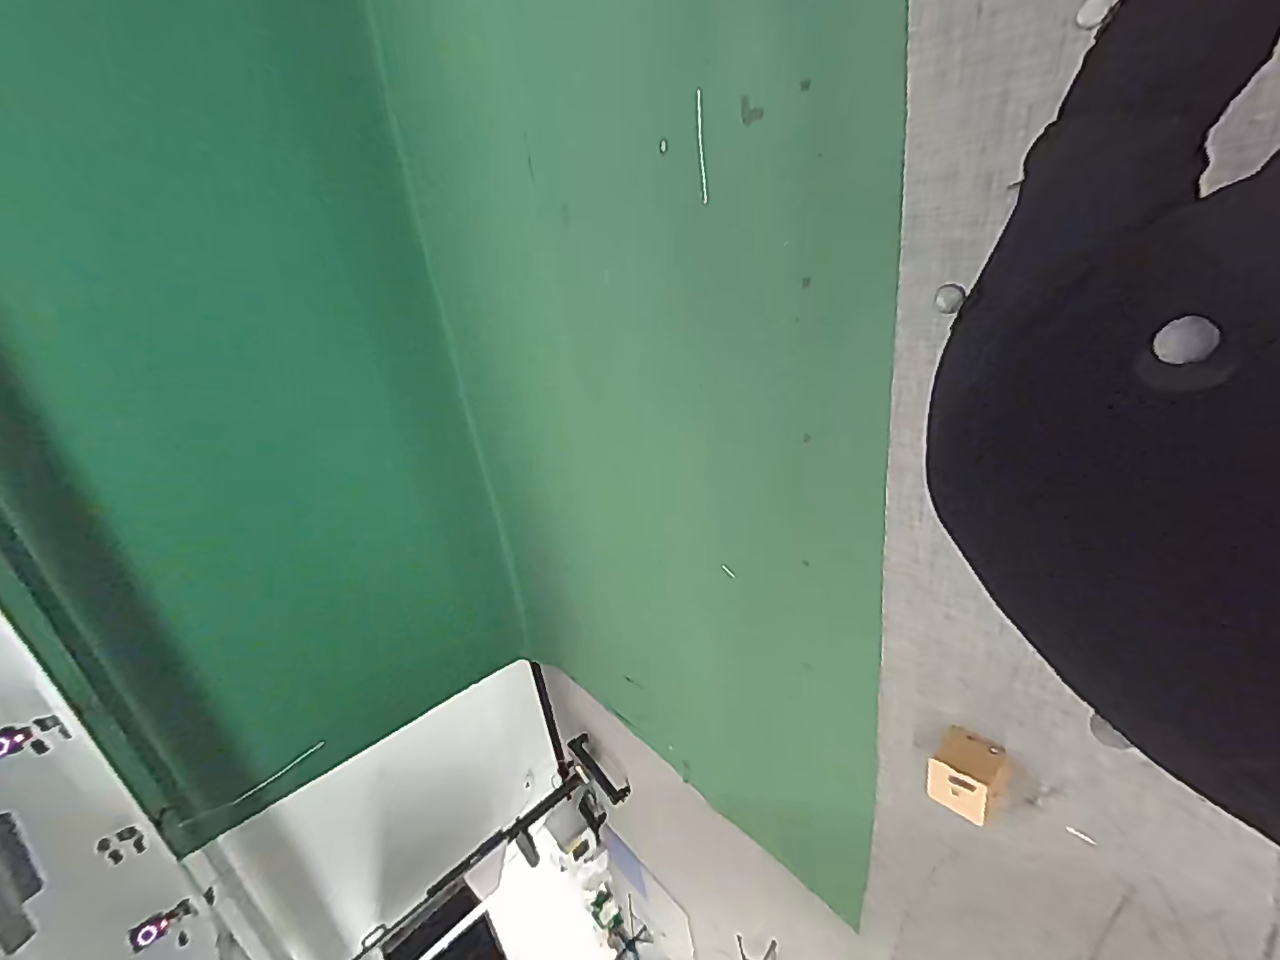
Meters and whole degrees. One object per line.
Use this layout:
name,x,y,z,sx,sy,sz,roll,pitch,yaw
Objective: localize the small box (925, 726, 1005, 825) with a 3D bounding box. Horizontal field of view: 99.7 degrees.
small box,1.026,0.920,1.704,0.168,0.176,0.179,16,123,49
